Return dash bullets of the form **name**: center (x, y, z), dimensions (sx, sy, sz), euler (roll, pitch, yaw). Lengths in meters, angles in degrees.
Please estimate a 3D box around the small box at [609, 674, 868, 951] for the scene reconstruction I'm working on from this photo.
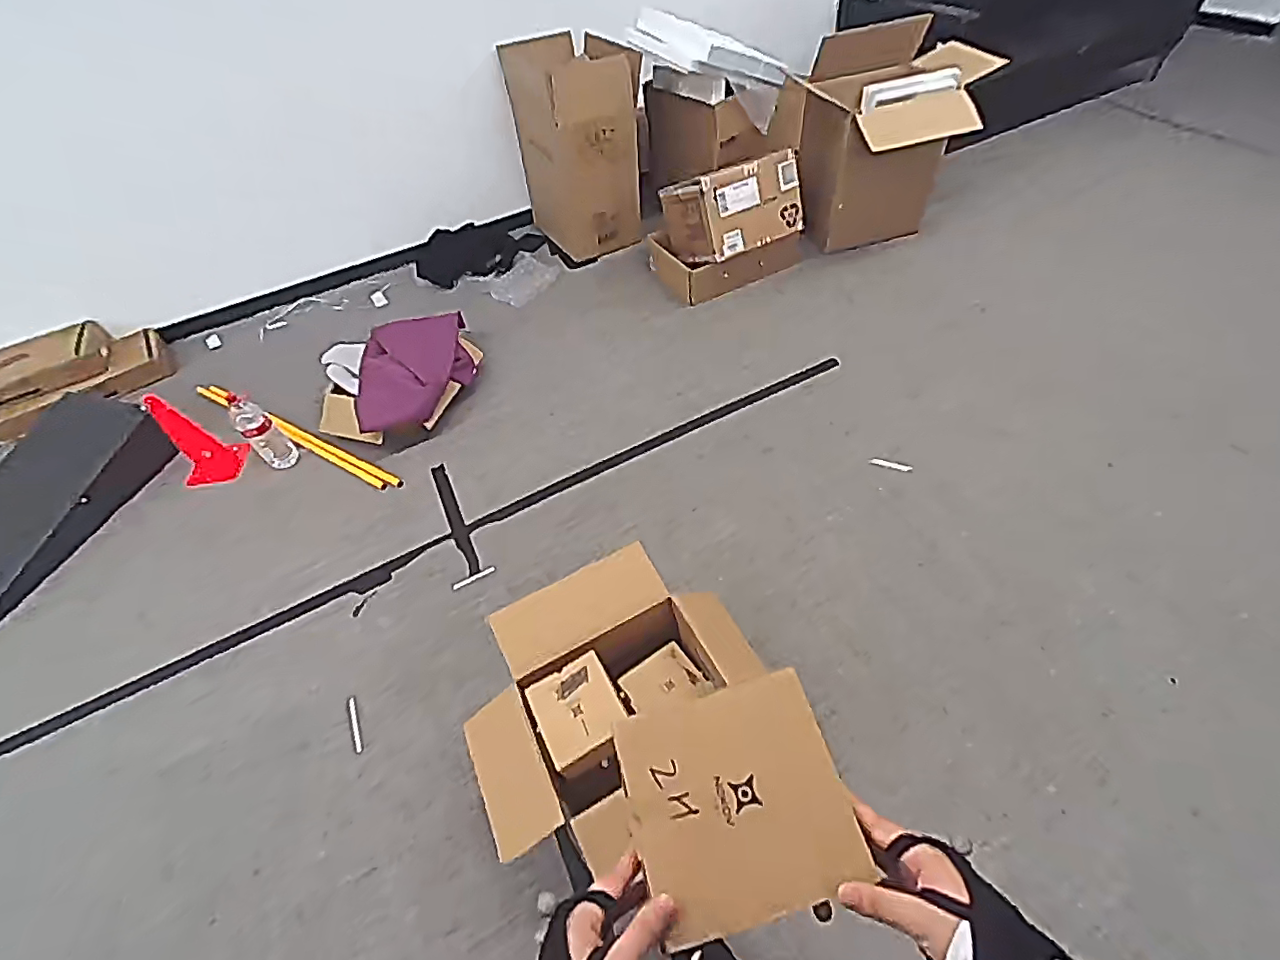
- **small box**: center (0.081, 0.306, 0.519), dimensions (0.179, 0.176, 0.168), euler (-16, 58, -3)
